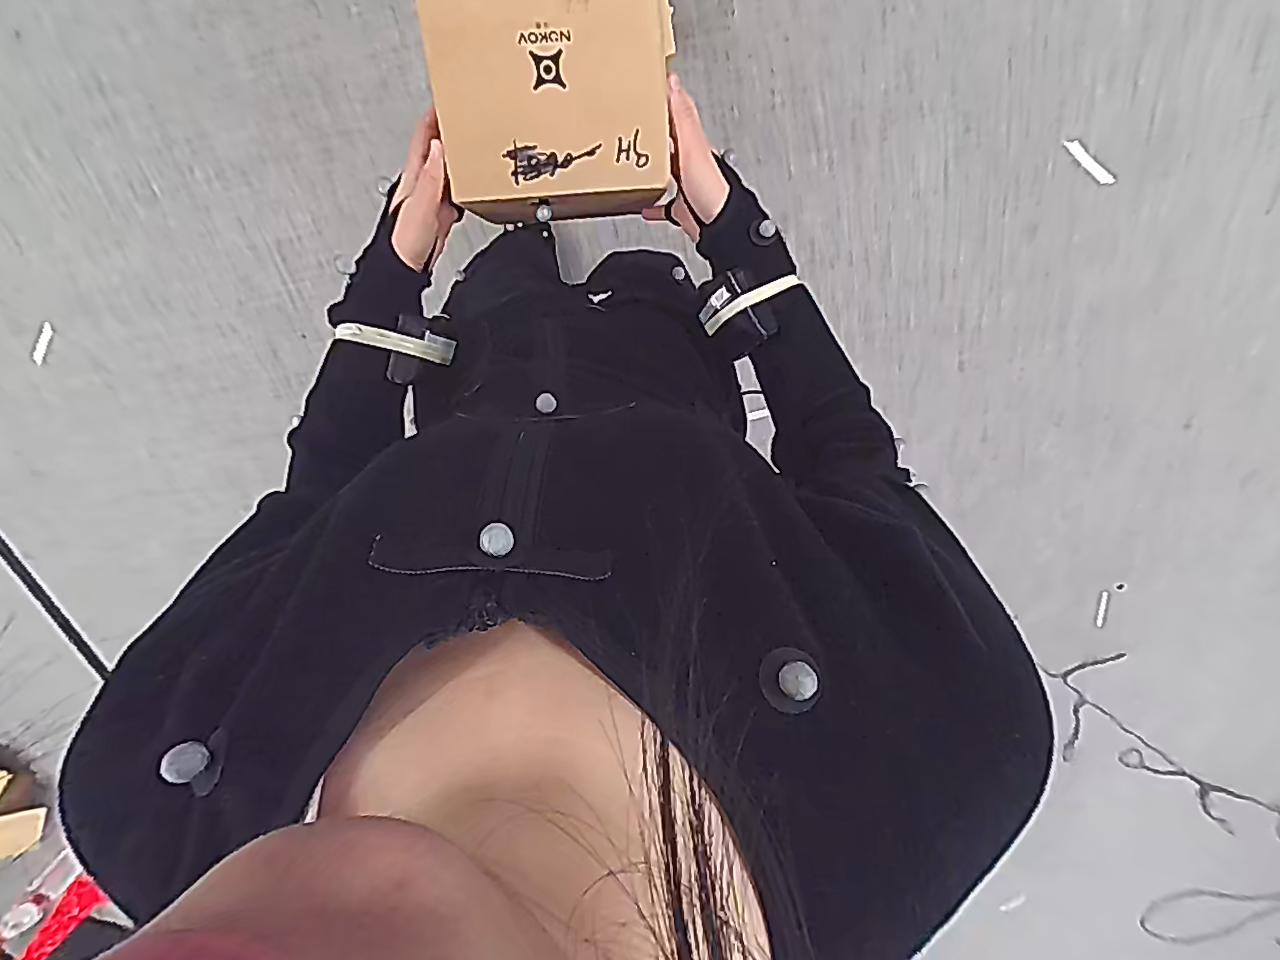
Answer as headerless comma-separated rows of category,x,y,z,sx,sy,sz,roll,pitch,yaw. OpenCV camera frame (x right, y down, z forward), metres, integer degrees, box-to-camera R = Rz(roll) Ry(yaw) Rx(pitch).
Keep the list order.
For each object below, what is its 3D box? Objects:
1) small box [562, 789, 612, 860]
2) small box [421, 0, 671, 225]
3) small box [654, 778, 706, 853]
small box,-0.202,1.319,2.077,0.179,0.176,0.168,4,114,-3
small box,-0.070,-0.320,0.448,0.168,0.176,0.179,-6,111,-3
small box,0.151,1.269,2.051,0.168,0.176,0.179,-11,113,5
